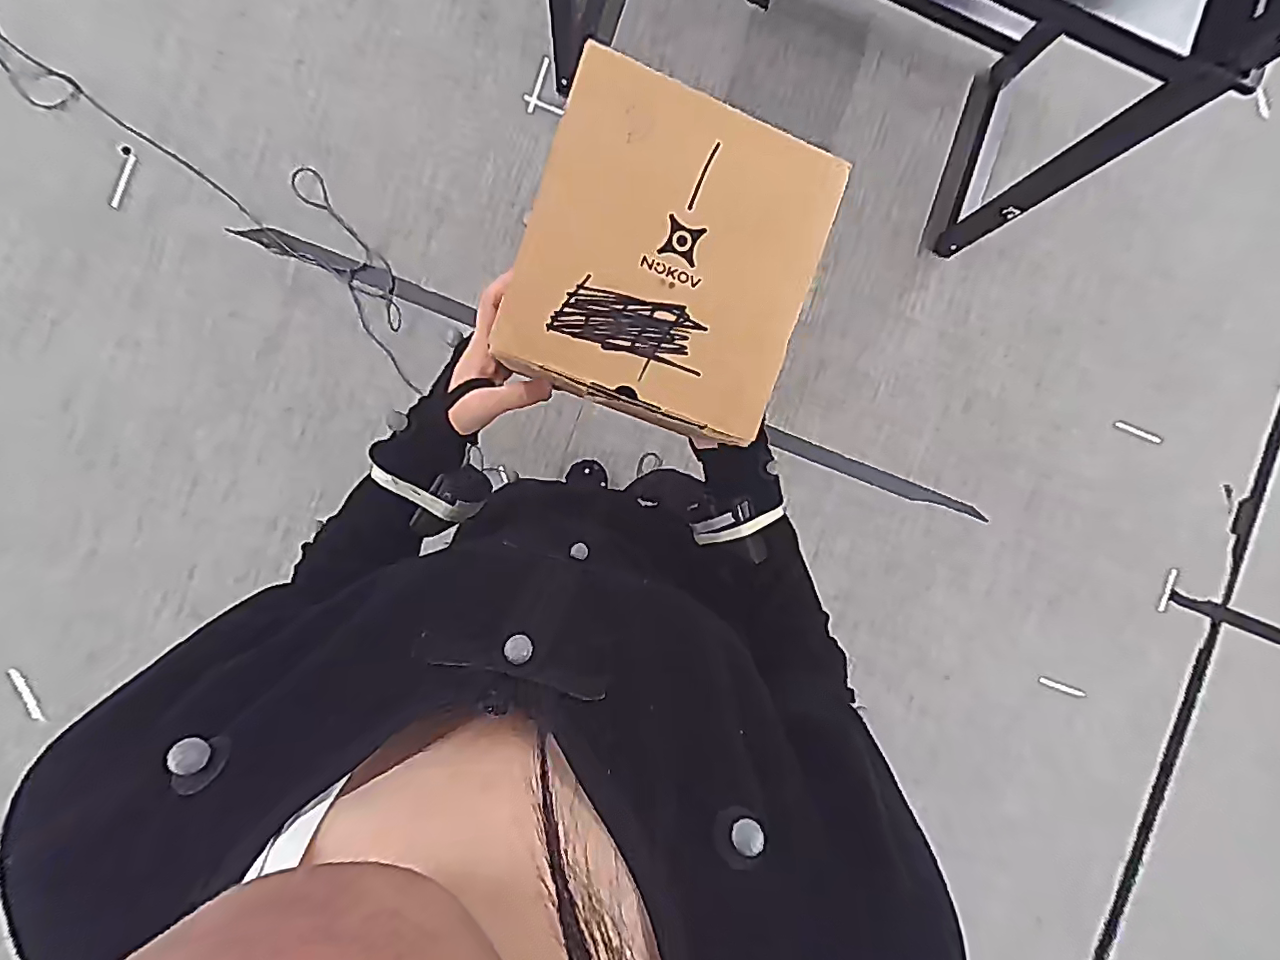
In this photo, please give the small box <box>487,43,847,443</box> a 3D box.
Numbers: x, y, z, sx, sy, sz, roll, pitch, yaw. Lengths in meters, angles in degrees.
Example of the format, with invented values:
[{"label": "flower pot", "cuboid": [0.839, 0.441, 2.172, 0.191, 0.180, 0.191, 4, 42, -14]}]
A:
[{"label": "small box", "cuboid": [0.008, -0.137, 0.386, 0.168, 0.176, 0.179, 19, 93, -10]}]
